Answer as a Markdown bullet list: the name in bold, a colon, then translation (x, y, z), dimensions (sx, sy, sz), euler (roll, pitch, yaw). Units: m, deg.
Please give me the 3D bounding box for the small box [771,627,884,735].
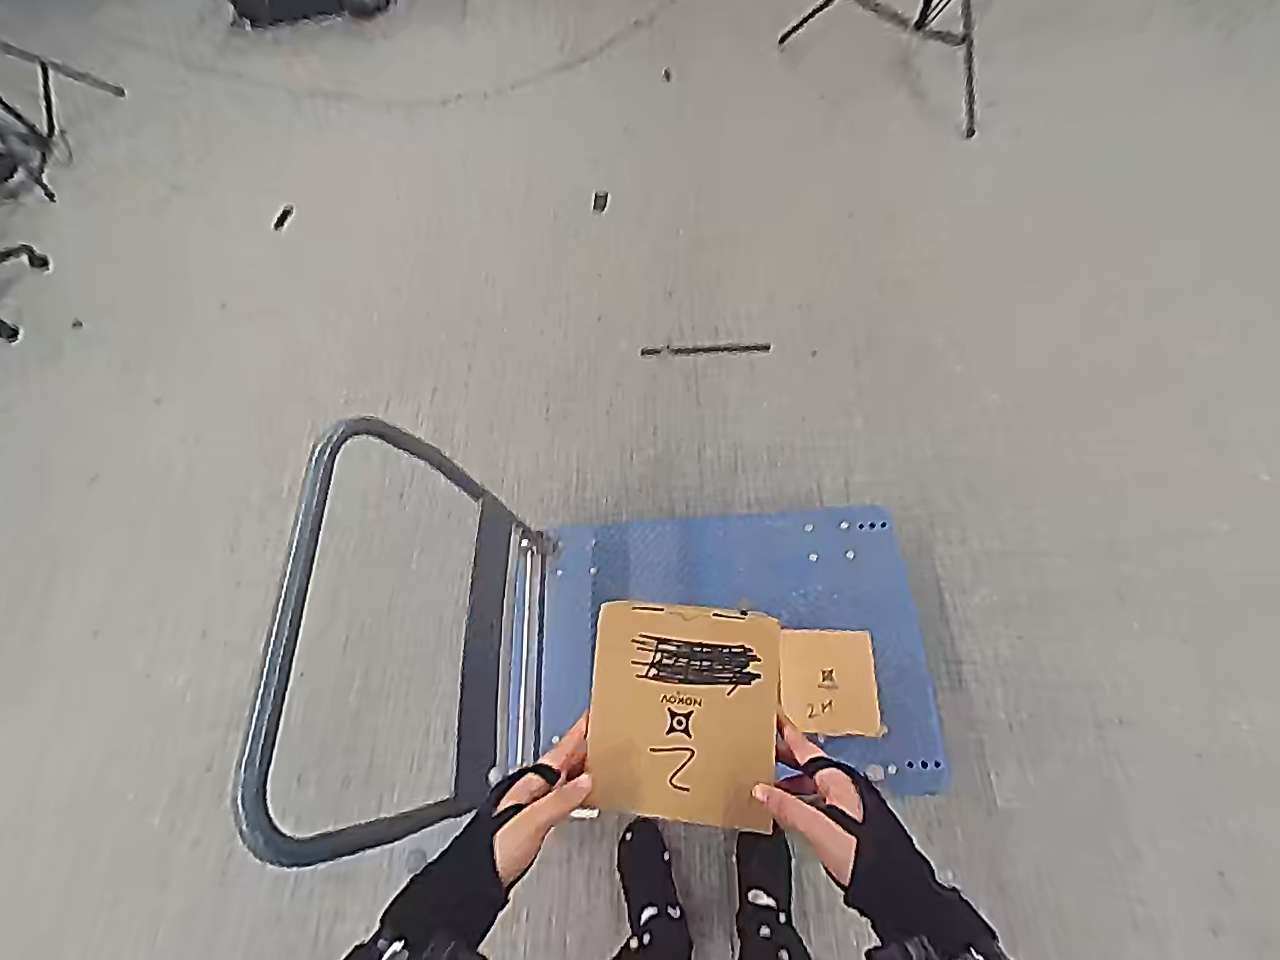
- **small box**: translation (0.344, 0.384, 1.028), dimensions (0.168, 0.176, 0.179), euler (-1, 66, 8)
